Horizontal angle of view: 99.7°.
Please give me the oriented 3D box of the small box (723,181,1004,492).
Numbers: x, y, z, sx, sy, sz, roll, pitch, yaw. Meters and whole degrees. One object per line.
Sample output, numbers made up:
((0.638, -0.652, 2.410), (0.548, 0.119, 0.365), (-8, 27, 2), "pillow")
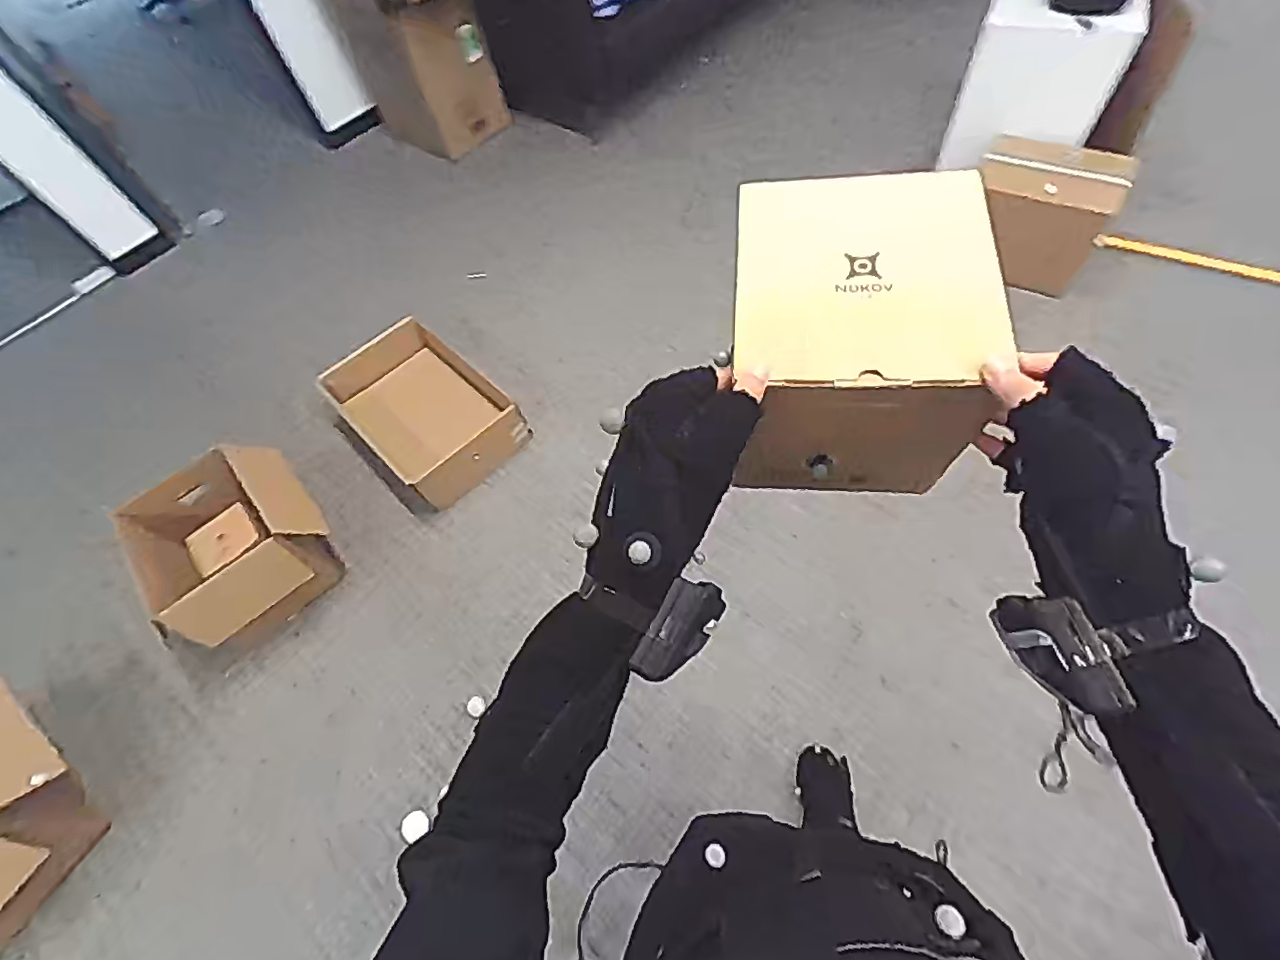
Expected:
((0.153, -0.105, 0.437), (0.168, 0.176, 0.179), (1, 66, 9), "small box")
